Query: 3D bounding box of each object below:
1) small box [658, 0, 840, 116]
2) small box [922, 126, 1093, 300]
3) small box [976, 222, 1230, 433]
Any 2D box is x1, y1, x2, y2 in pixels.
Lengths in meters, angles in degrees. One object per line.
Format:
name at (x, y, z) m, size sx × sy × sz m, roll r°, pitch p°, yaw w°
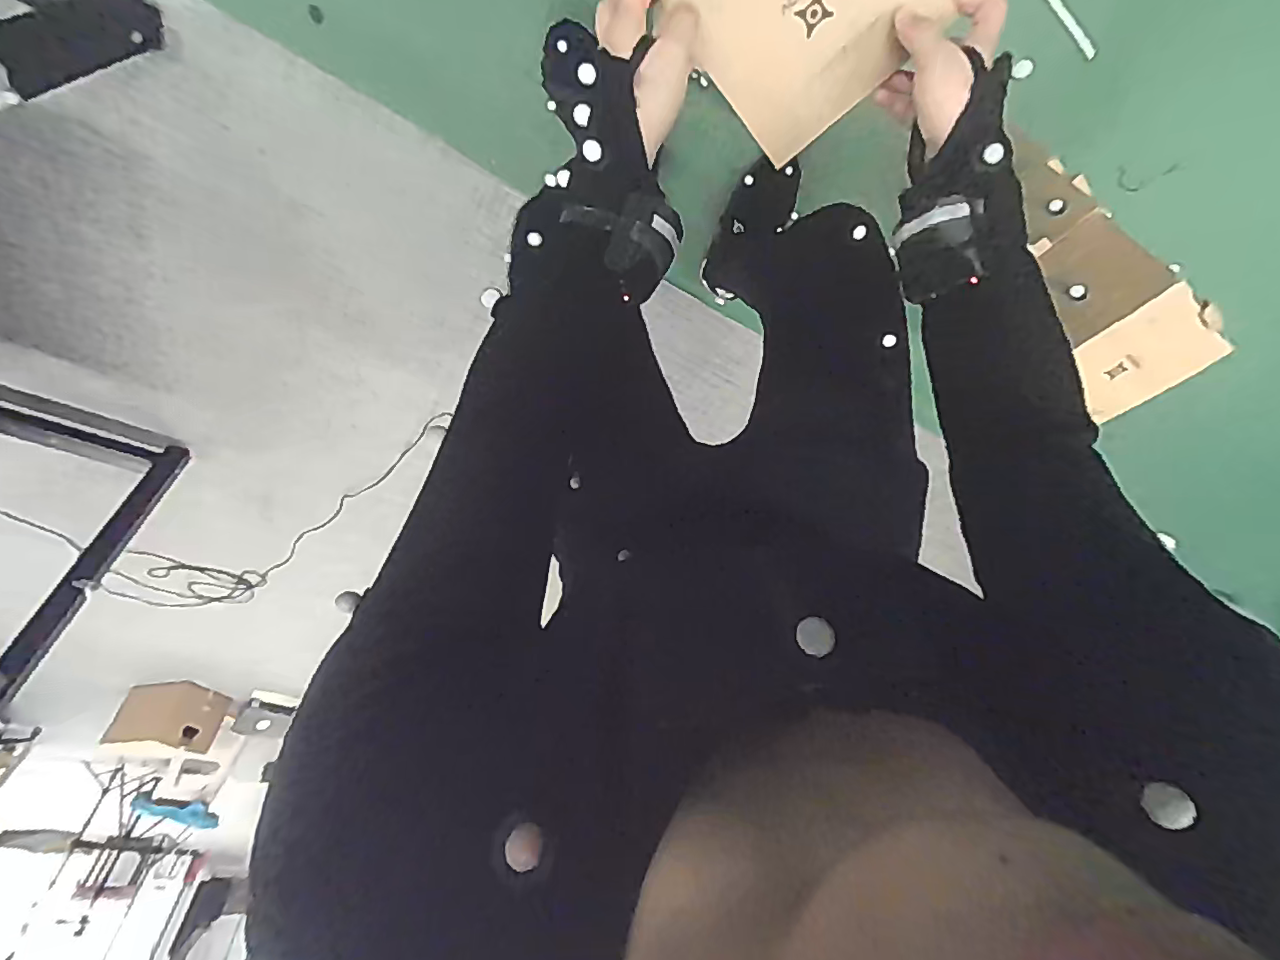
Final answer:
small box at (0.138, -0.640, 0.721) m, size 0.179 × 0.176 × 0.168 m, roll 21°, pitch 136°, yaw -22°
small box at (0.616, -0.457, 0.931) m, size 0.168 × 0.176 × 0.179 m, roll 28°, pitch 133°, yaw -29°
small box at (0.601, -0.202, 0.722) m, size 0.168 × 0.176 × 0.179 m, roll 24°, pitch 134°, yaw -27°
